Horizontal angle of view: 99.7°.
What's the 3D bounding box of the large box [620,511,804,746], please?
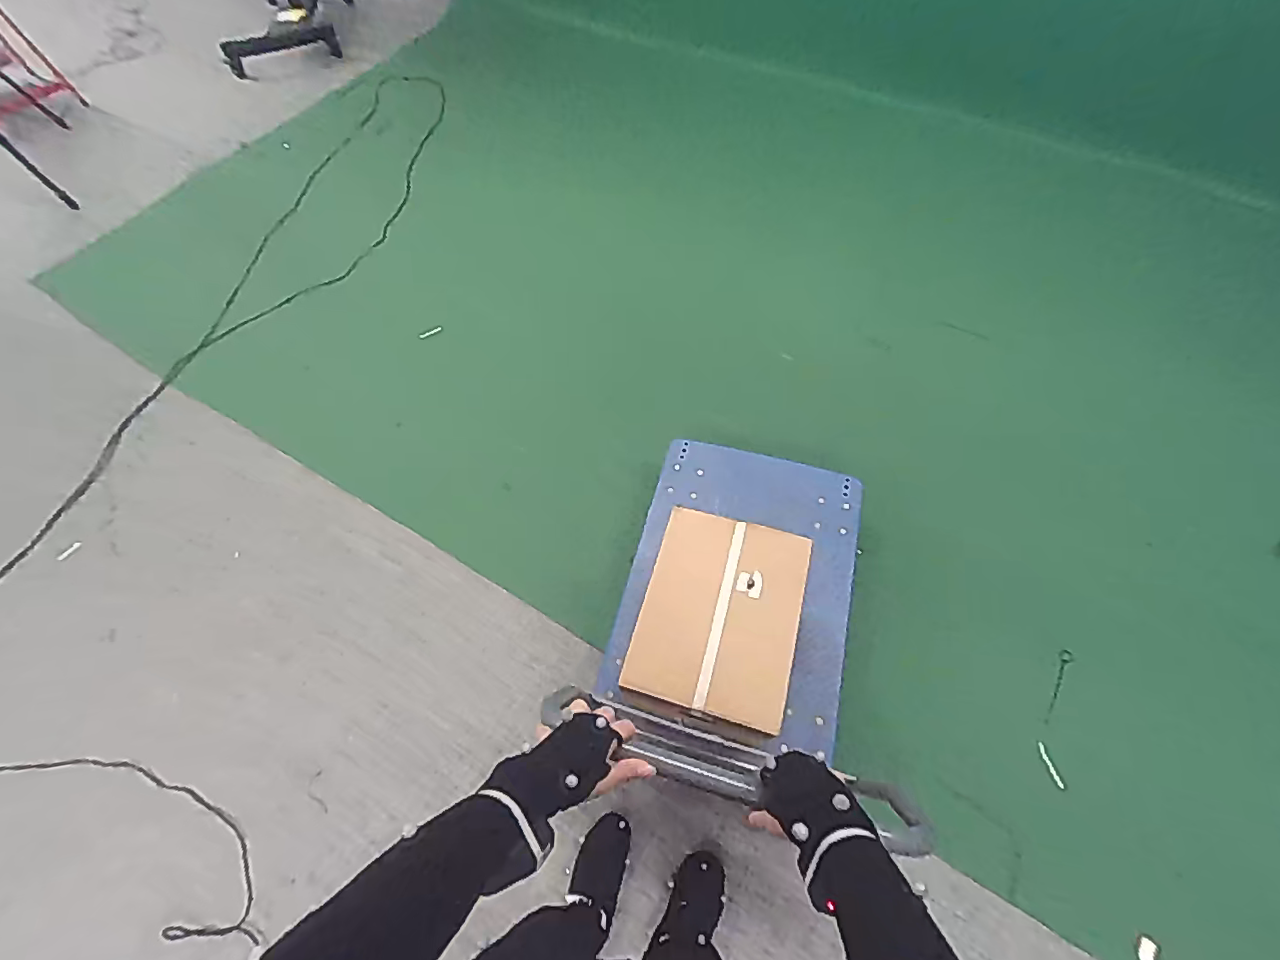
[{"bbox_3d":[0.166,0.343,1.234,0.320,0.320,0.408,14,61,10],"label":"large box"}]
